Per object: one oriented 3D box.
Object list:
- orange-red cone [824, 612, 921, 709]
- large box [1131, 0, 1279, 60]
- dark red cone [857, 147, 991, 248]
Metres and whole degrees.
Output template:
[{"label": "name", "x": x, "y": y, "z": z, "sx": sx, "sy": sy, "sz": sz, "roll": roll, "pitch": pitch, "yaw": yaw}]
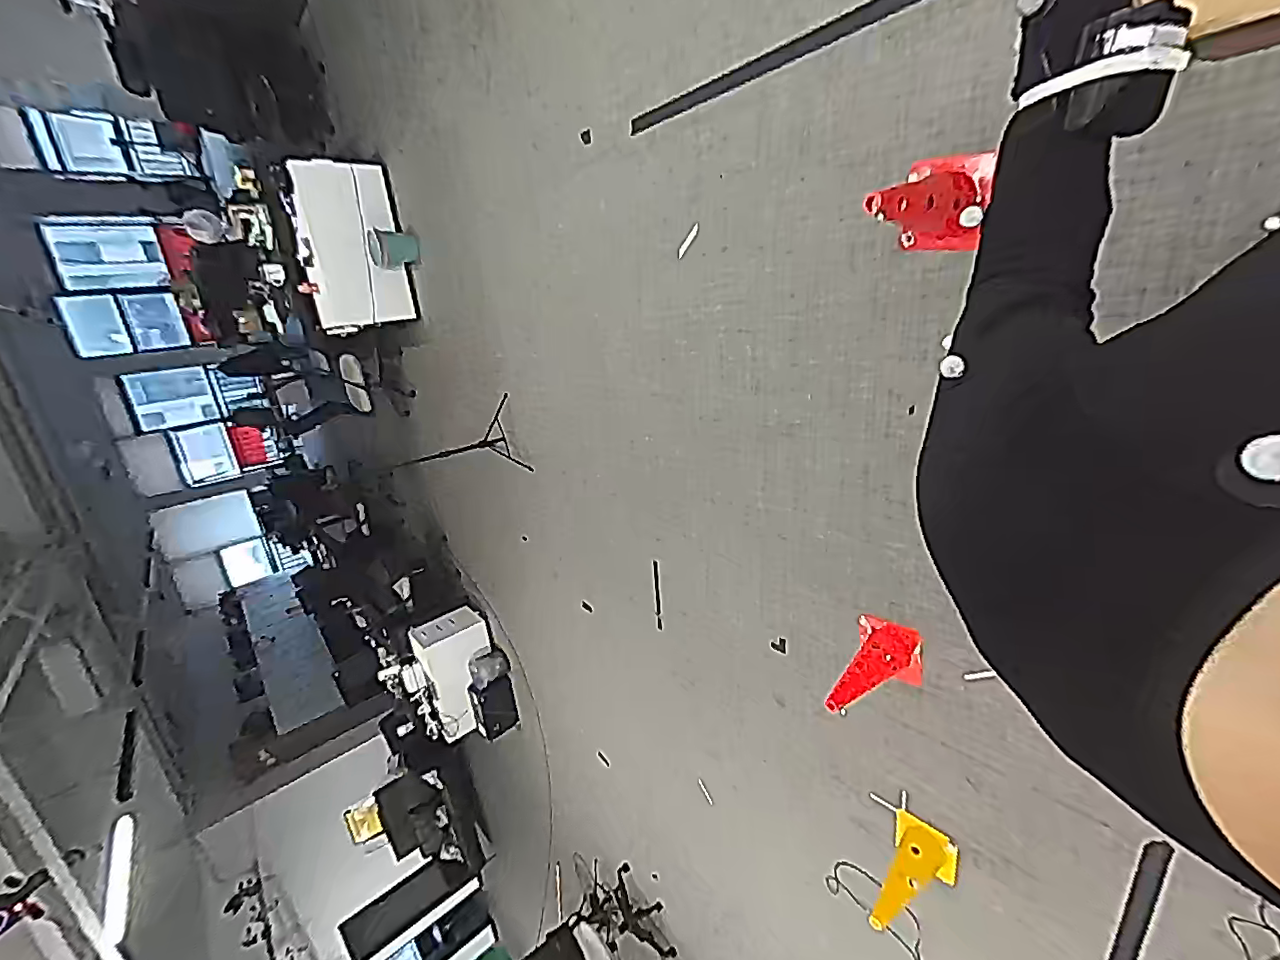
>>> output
[{"label": "orange-red cone", "x": 0.682, "y": 0.593, "z": 1.661, "sx": 0.198, "sy": 0.360, "sz": 0.199, "roll": 13, "pitch": 118, "yaw": 49}, {"label": "large box", "x": 0.534, "y": -0.456, "z": 0.243, "sx": 0.408, "sy": 0.320, "sz": 0.320, "roll": 15, "pitch": 126, "yaw": 48}, {"label": "dark red cone", "x": 0.579, "y": -0.606, "z": 1.167, "sx": 0.201, "sy": 0.394, "sz": 0.202, "roll": 22, "pitch": 124, "yaw": 43}]
